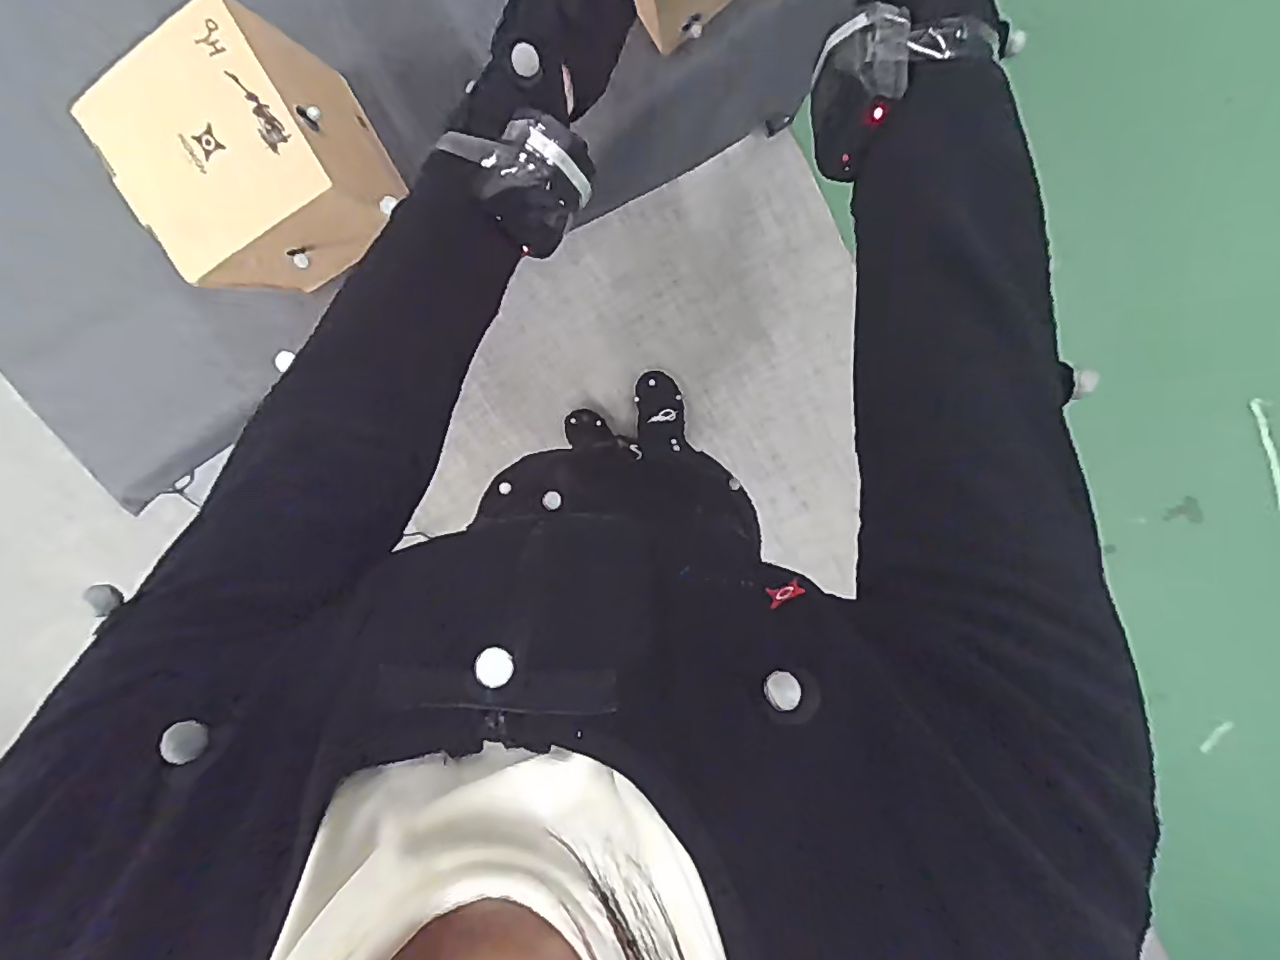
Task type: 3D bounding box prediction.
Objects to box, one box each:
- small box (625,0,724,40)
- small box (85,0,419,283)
[{"bbox_3d":[0.034,-0.516,0.444,0.168,0.176,0.179,-33,100,14],"label":"small box"},{"bbox_3d":[-0.366,-0.315,0.546,0.179,0.176,0.168,-25,103,12],"label":"small box"}]
